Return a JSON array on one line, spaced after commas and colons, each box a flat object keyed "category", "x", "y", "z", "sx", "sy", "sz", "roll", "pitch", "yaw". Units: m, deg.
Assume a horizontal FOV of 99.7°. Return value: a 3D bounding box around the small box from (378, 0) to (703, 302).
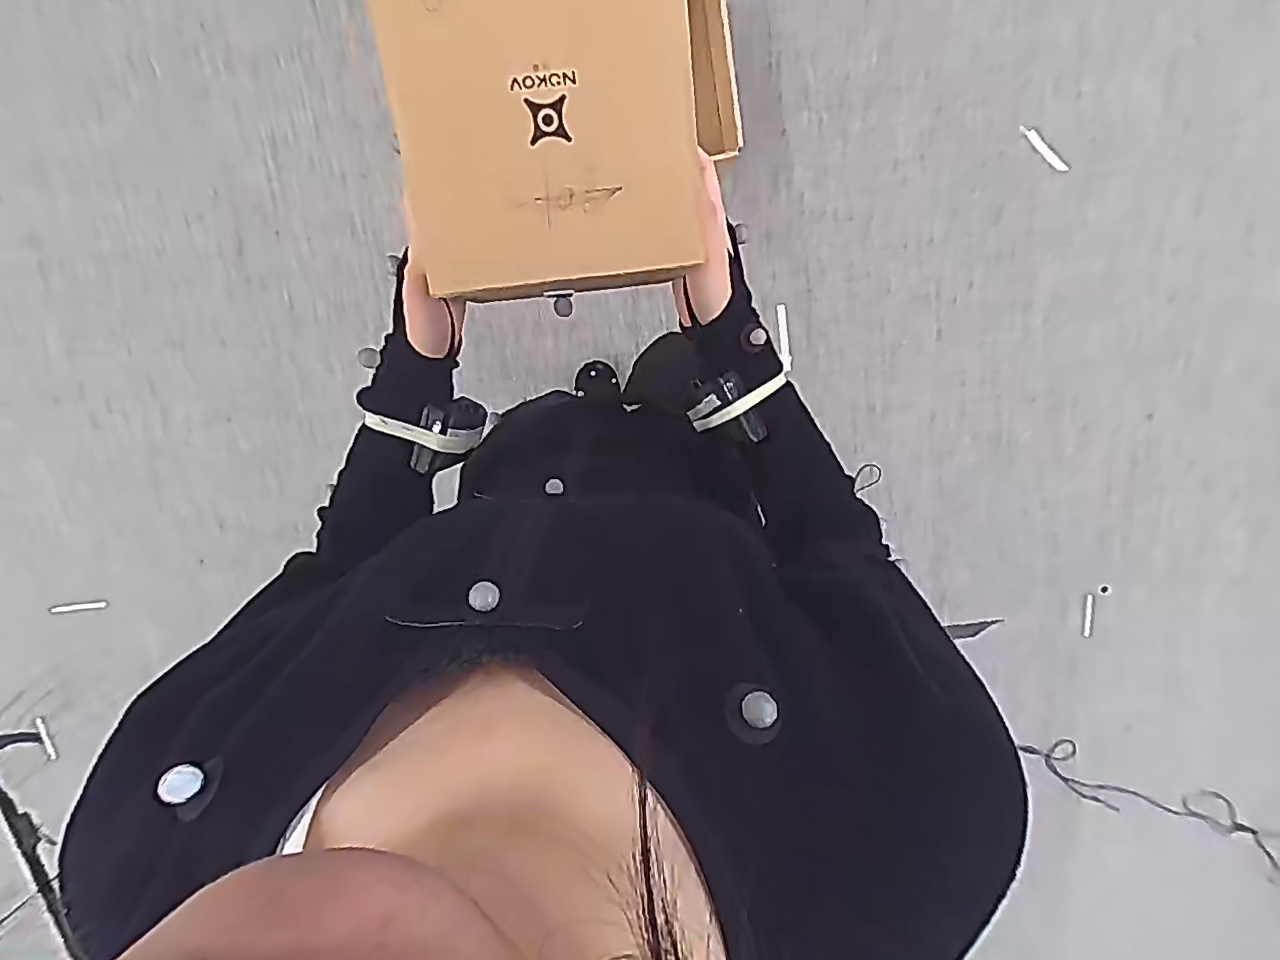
[{"category": "small box", "x": -0.058, "y": -0.225, "z": 0.376, "sx": 0.168, "sy": 0.176, "sz": 0.179, "roll": -7, "pitch": 107, "yaw": -3}]
